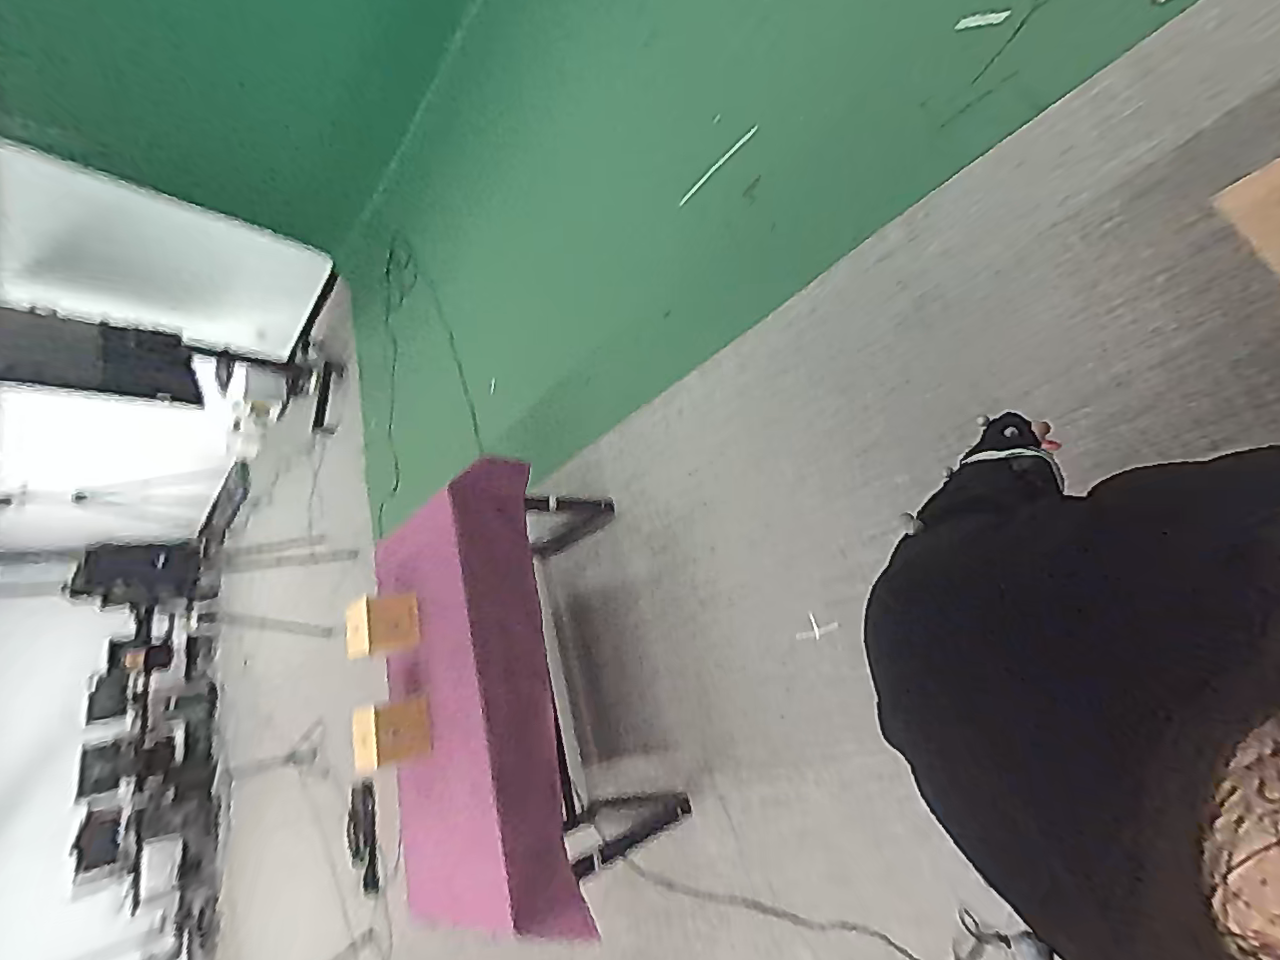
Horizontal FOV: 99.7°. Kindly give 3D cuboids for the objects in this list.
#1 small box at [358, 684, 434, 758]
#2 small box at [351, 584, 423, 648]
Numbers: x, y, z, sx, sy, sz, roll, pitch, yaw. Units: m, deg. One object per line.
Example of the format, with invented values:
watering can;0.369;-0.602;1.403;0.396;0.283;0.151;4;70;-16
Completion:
small box;-0.757;0.749;1.684;0.168;0.176;0.179;-26;67;38
small box;-0.831;0.447;1.787;0.179;0.176;0.168;-27;68;40
